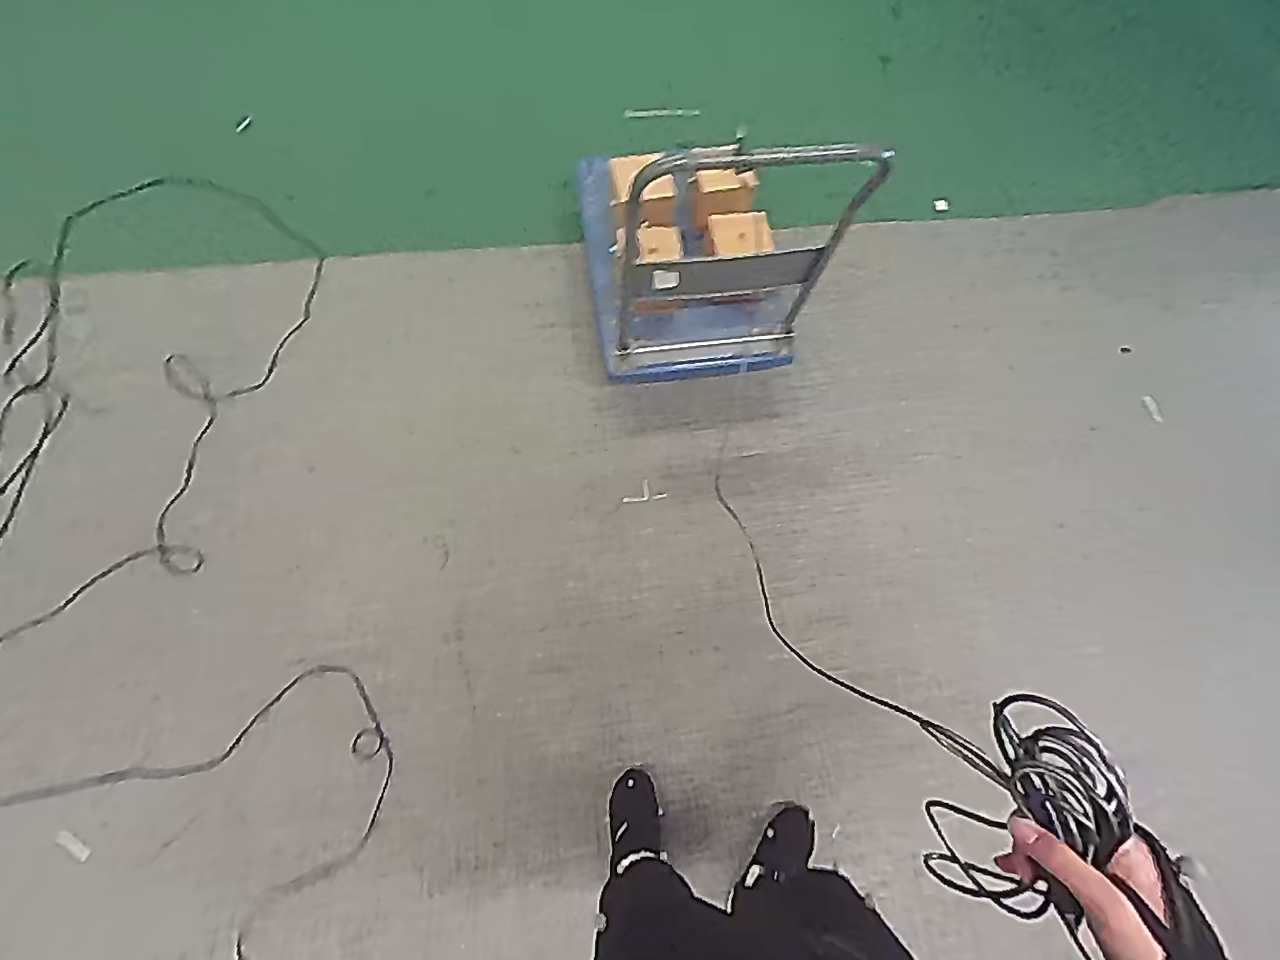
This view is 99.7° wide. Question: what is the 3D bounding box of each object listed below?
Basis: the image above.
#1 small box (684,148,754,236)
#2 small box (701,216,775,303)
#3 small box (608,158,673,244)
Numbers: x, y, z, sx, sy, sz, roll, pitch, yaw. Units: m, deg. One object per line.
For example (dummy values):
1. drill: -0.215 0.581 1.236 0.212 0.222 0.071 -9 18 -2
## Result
1. small box: 0.242 -0.908 1.714 0.168 0.176 0.179 -11 71 -6
2. small box: 0.284 -0.659 1.620 0.168 0.176 0.179 -7 70 -6
3. small box: -0.003 -0.859 1.682 0.168 0.176 0.179 -11 70 -8
